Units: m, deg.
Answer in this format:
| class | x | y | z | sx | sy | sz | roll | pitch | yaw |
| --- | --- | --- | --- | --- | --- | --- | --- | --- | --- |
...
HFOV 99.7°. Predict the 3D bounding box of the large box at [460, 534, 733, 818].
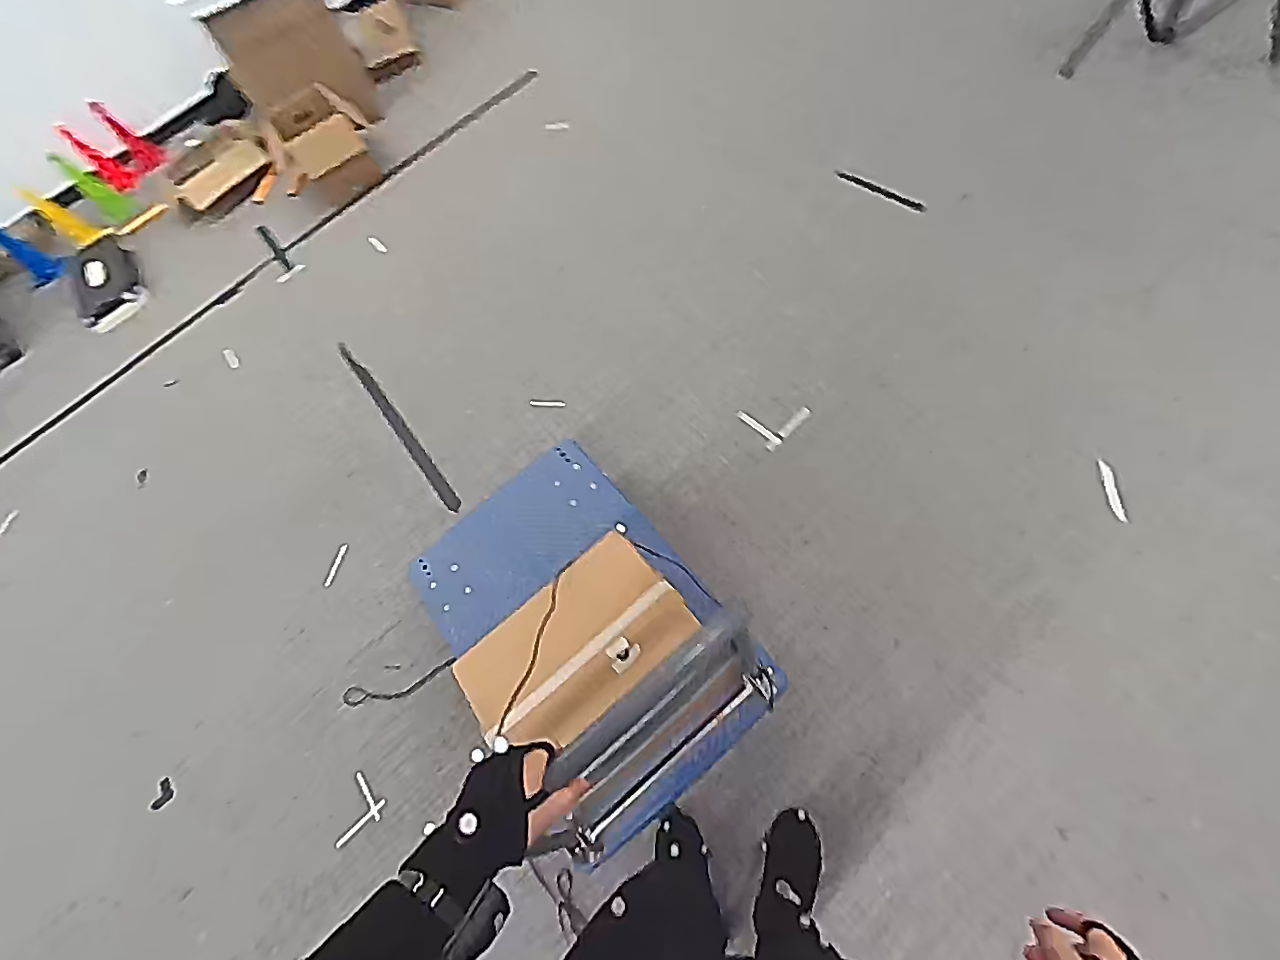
| class | x | y | z | sx | sy | sz | roll | pitch | yaw |
| --- | --- | --- | --- | --- | --- | --- | --- | --- | --- |
| large box | -0.067 | 0.394 | 1.093 | 0.408 | 0.320 | 0.320 | -40 | 62 | -8 |
